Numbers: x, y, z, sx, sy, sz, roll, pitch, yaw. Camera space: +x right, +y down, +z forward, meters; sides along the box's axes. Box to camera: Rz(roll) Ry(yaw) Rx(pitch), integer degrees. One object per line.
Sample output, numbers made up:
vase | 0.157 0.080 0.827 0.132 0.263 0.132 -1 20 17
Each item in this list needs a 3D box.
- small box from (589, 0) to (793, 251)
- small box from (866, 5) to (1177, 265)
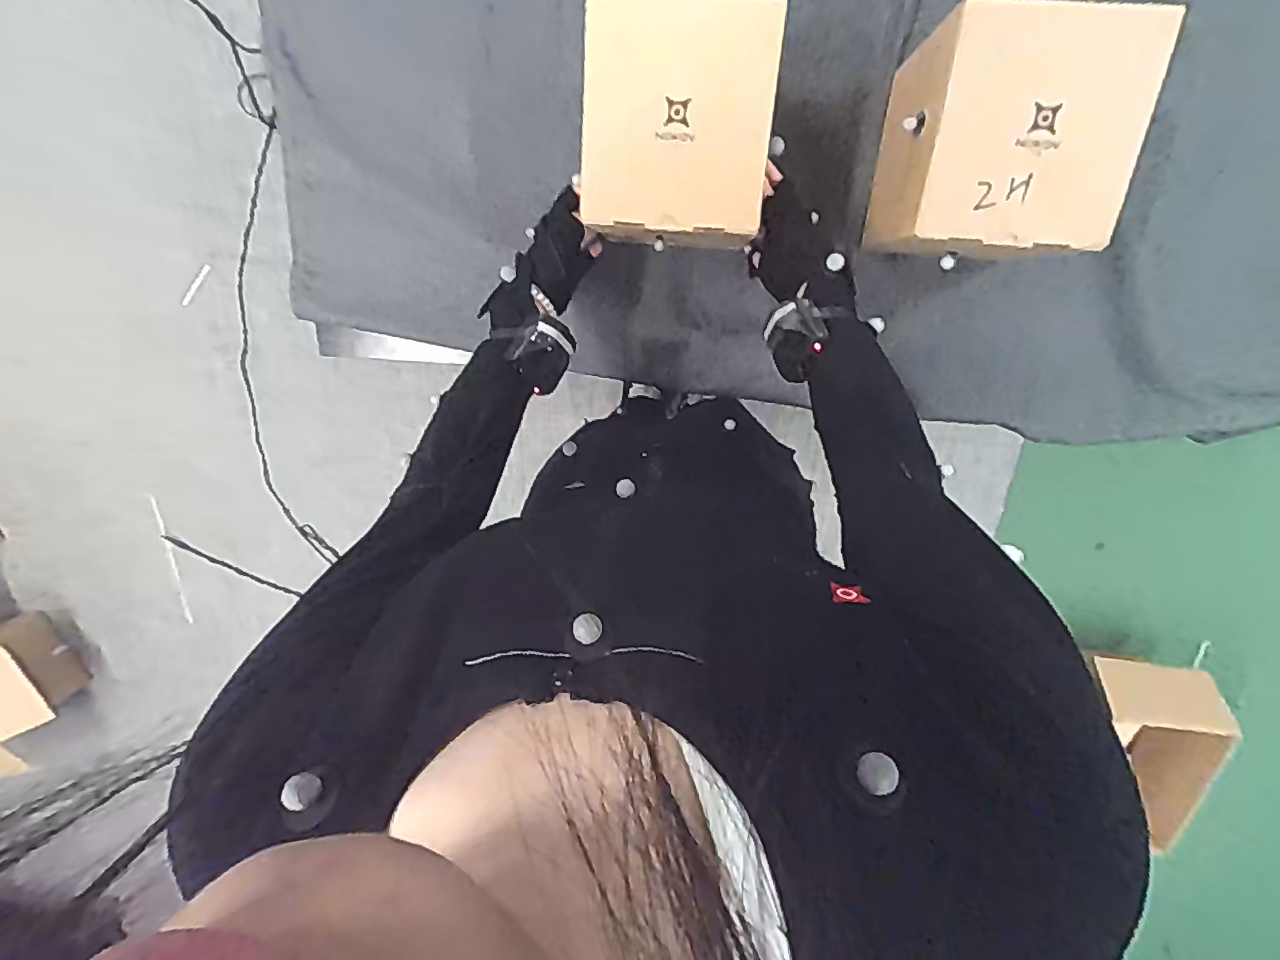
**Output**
small box | 0.043 -0.337 0.547 0.168 0.176 0.179 5 110 2
small box | 0.340 -0.313 0.529 0.168 0.176 0.179 6 110 3
